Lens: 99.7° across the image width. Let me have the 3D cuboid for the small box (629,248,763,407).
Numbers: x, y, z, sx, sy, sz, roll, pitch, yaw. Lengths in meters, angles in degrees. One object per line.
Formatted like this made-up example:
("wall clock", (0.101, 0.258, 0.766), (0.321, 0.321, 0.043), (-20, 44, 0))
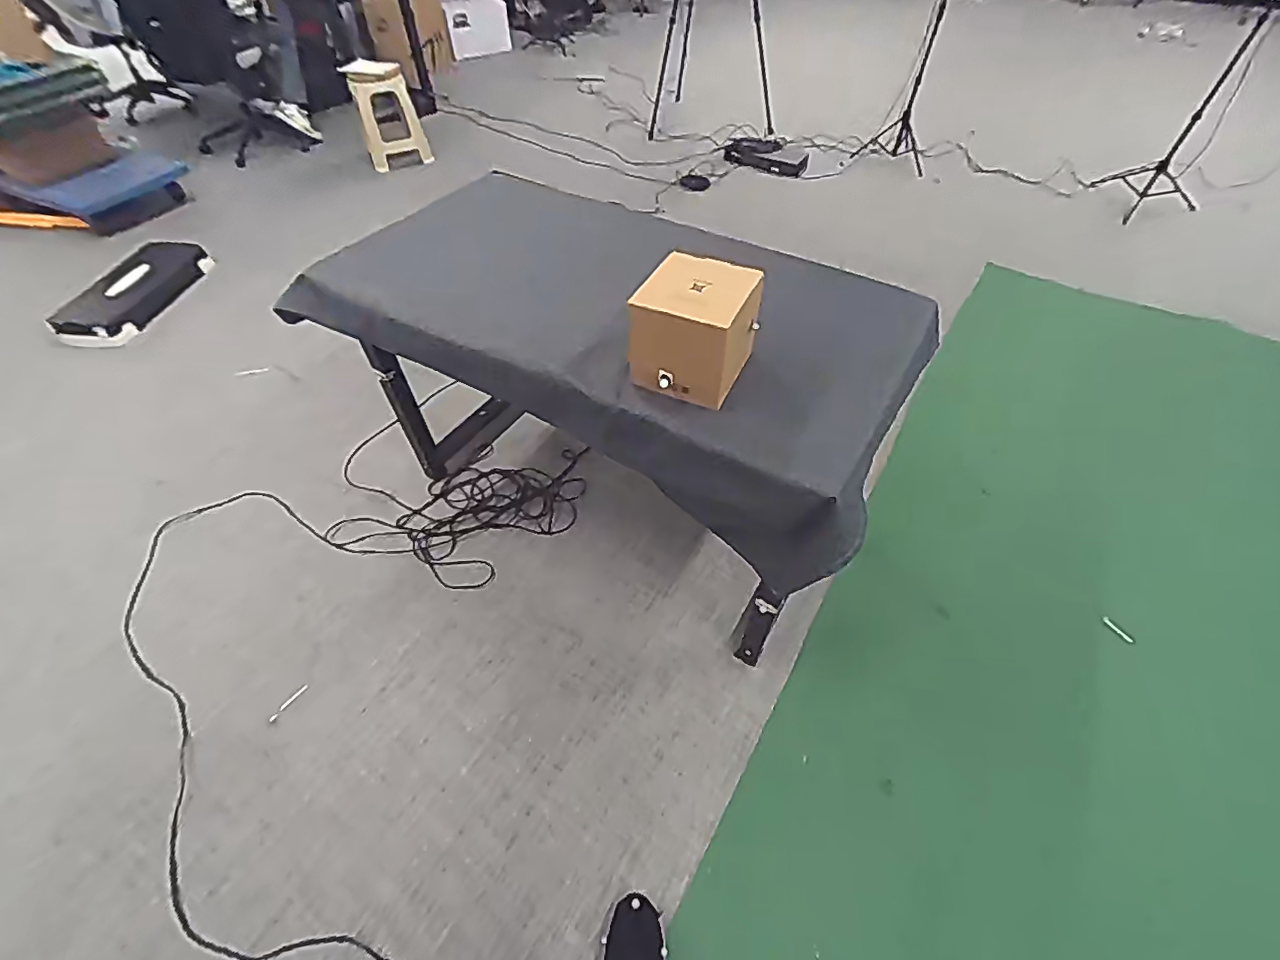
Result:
("small box", (0.090, -0.254, 0.907), (0.168, 0.176, 0.179), (19, 54, 16))
